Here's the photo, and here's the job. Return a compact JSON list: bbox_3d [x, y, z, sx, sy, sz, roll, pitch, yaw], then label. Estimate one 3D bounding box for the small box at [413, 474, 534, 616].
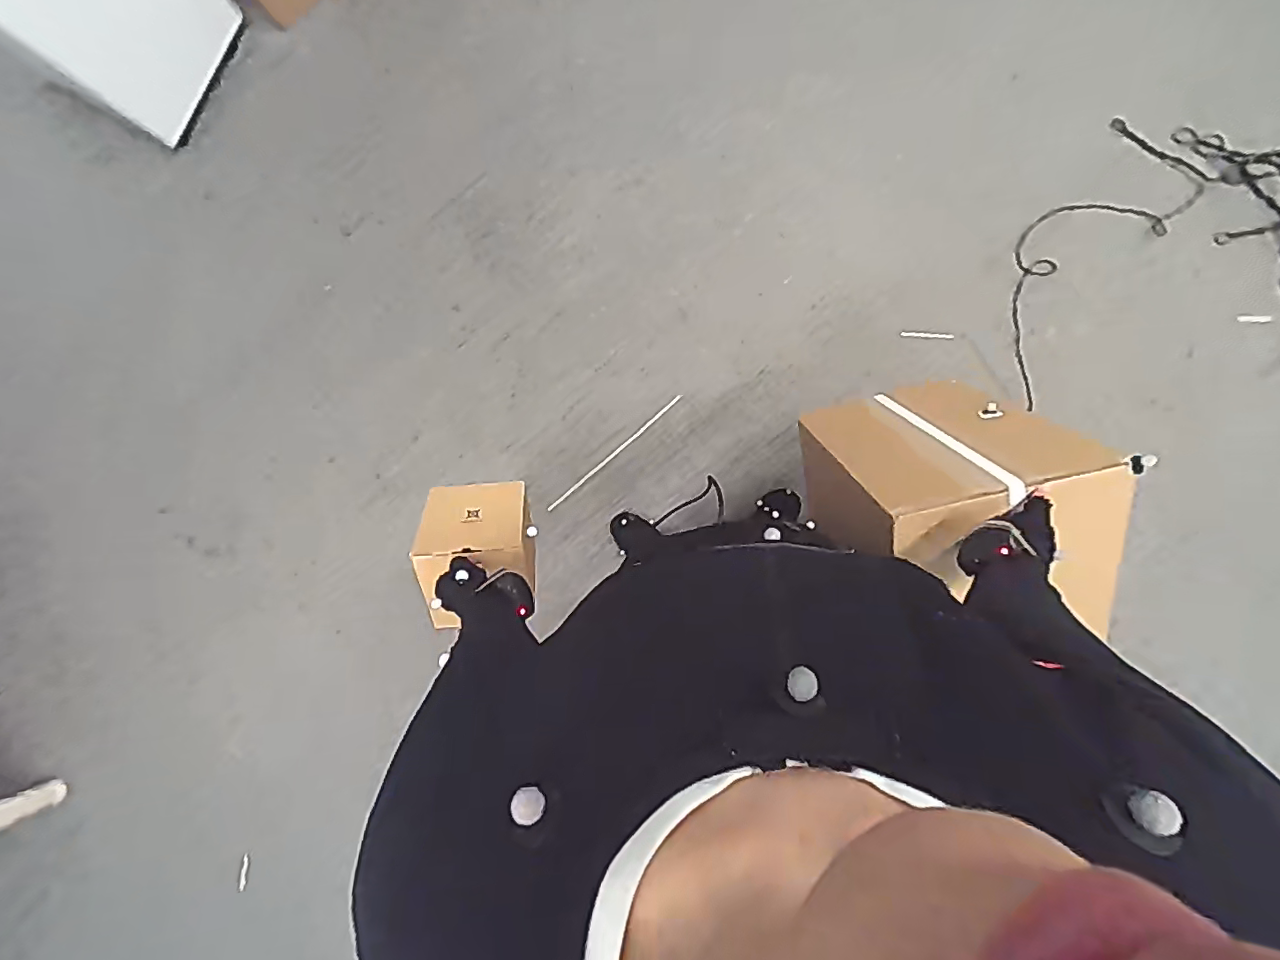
[{"bbox_3d":[-0.276,0.110,0.936,0.168,0.179,0.176,-4,127,-7],"label":"small box"}]
